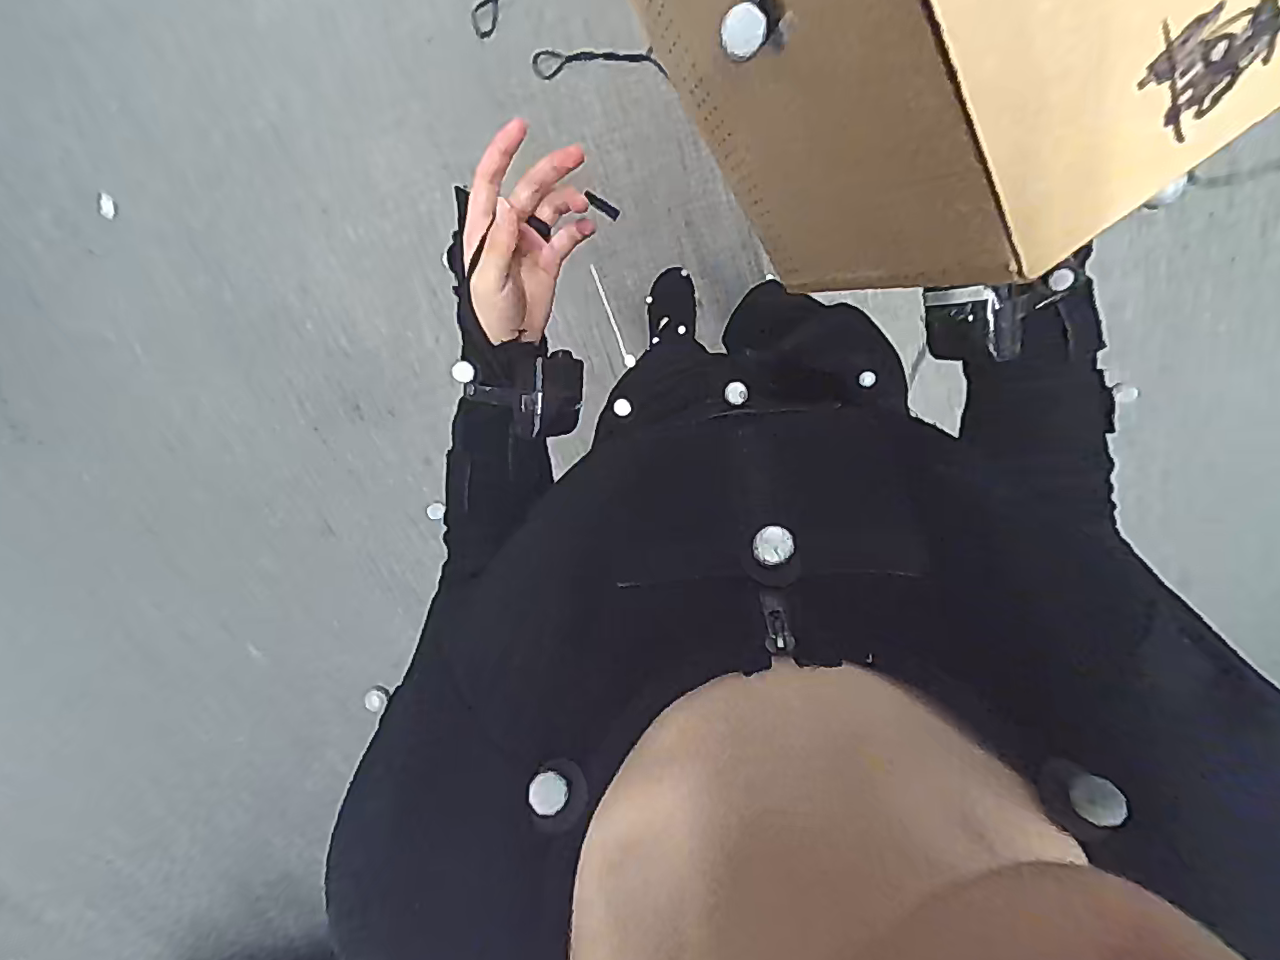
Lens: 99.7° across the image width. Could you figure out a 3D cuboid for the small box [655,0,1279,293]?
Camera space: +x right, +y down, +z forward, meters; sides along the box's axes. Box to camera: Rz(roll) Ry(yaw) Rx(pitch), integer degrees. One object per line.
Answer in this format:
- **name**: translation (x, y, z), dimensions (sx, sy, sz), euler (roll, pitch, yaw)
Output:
- **small box**: translation (0.122, -0.189, 0.203), dimensions (0.168, 0.176, 0.179), euler (-35, 108, 5)
